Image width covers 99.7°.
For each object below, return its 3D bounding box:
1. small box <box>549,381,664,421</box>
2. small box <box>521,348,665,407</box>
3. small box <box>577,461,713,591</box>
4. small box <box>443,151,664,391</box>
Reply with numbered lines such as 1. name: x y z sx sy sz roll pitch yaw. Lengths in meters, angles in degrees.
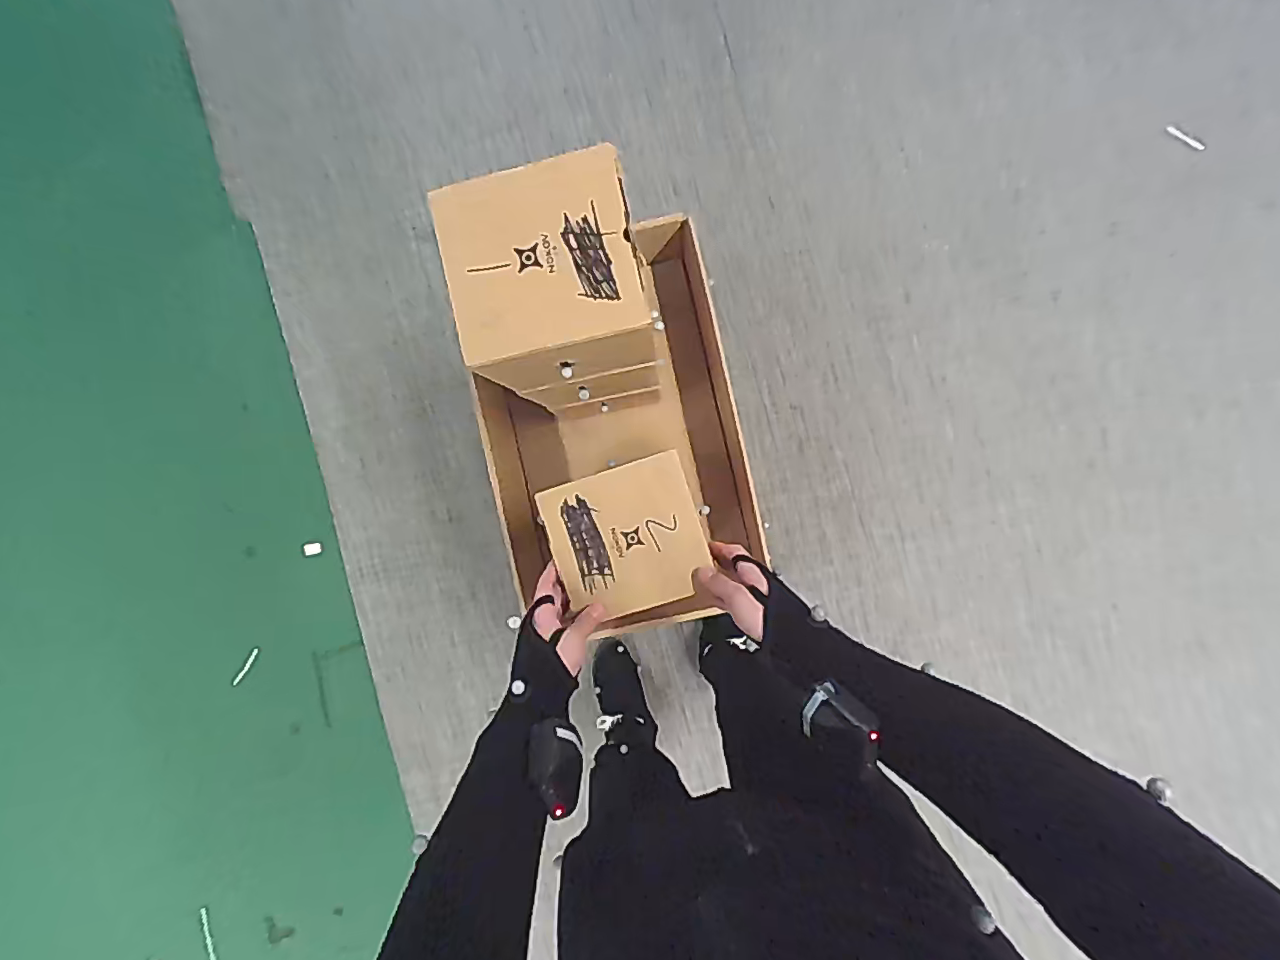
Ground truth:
1. small box: -0.058 -0.197 0.891 0.179 0.176 0.168 -10 90 2
2. small box: -0.066 -0.199 0.727 0.179 0.176 0.168 -11 91 4
3. small box: 0.010 0.068 0.882 0.179 0.176 0.168 -14 88 3
4. small box: -0.074 -0.198 0.563 0.179 0.176 0.168 -11 90 4
